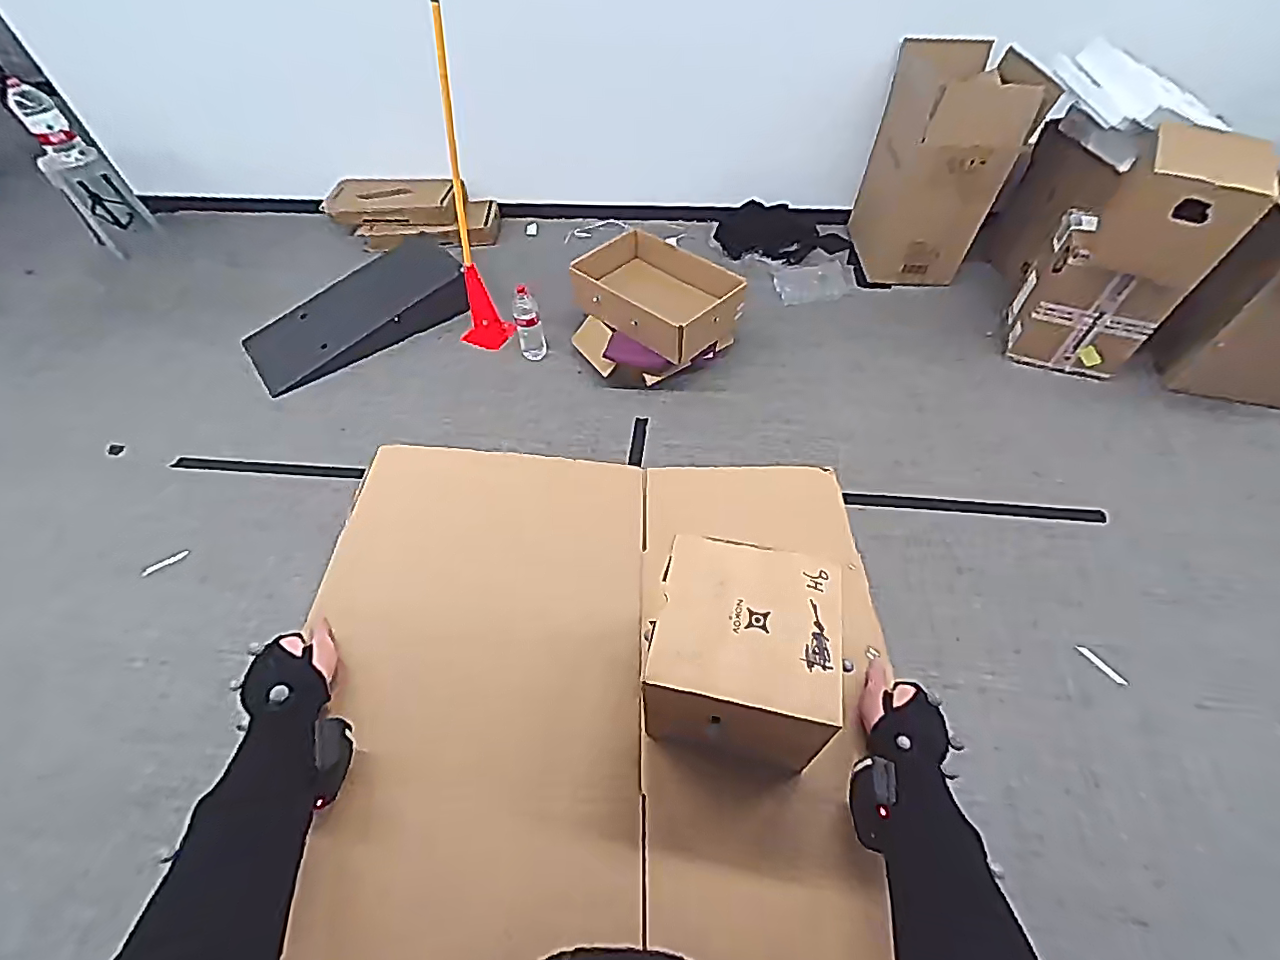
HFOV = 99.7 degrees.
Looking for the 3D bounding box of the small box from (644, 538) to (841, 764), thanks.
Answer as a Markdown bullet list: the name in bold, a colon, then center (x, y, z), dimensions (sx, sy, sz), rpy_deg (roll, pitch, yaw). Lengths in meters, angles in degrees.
- **small box**: center (0.110, 0.187, 0.586), dimensions (0.179, 0.176, 0.168), rpy_deg (8, 51, 11)
